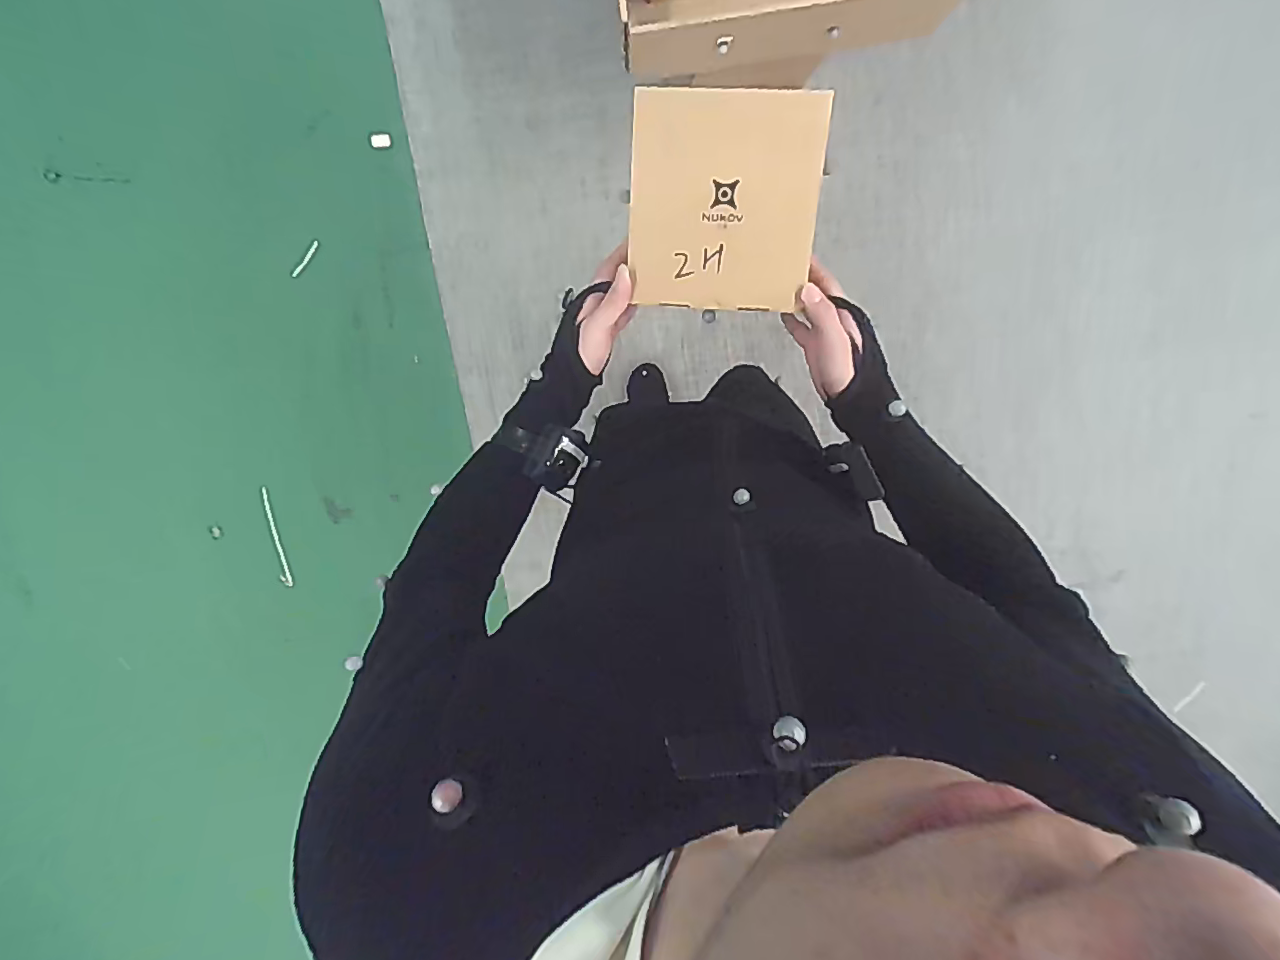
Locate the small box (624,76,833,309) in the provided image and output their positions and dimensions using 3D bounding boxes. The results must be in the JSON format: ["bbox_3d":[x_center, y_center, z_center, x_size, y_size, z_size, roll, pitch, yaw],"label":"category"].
[{"bbox_3d":[0.079,-0.270,0.546,0.168,0.176,0.179,5,109,5],"label":"small box"}]
